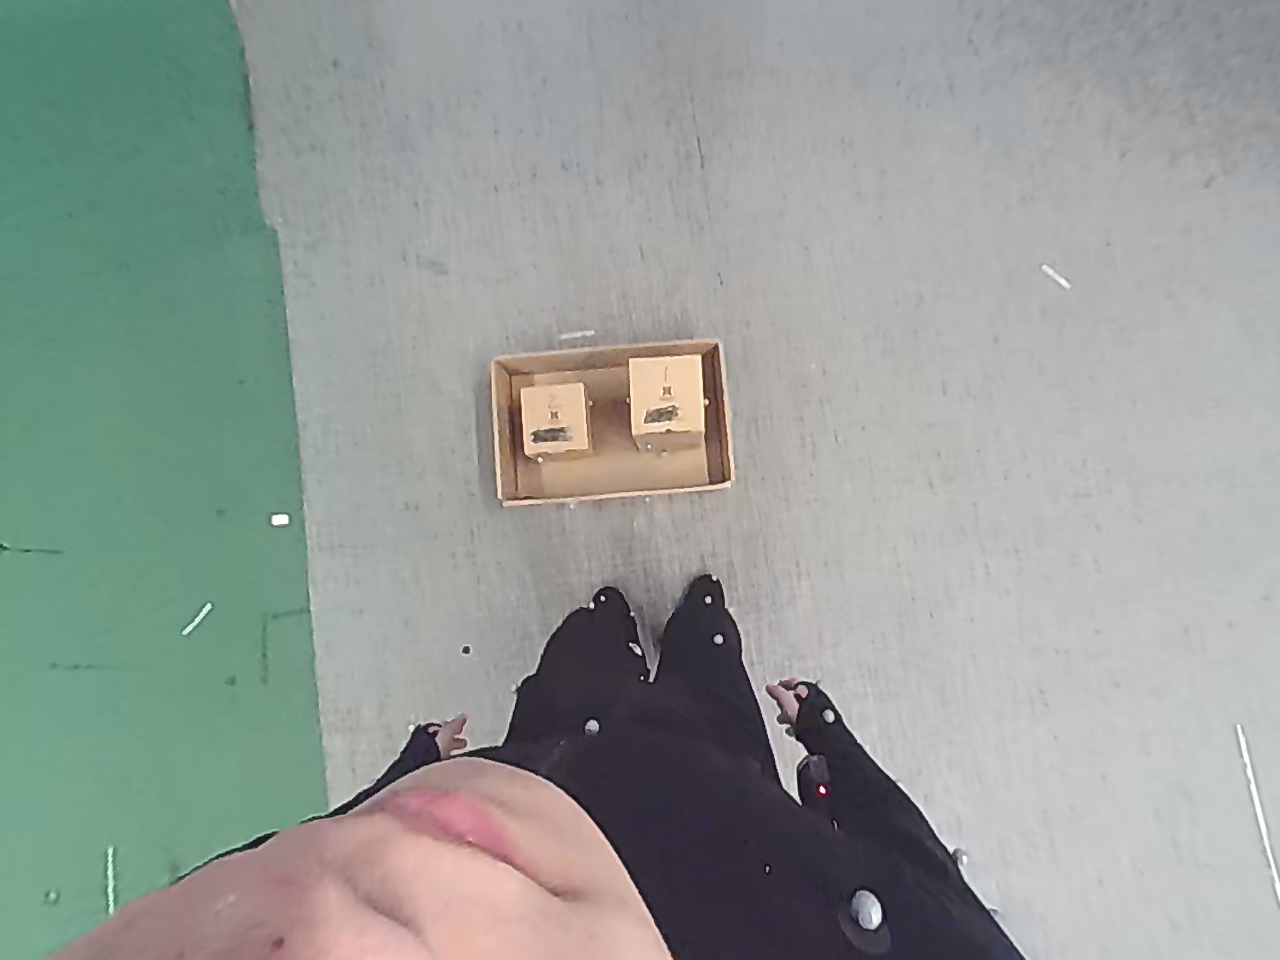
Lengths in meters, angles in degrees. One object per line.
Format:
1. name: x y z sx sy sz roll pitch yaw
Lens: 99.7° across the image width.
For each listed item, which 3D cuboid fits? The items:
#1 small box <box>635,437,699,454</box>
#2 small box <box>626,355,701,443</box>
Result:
1. small box: 0.066 -0.170 1.446 0.168 0.176 0.179 -5 85 3
2. small box: 0.058 -0.184 1.283 0.168 0.176 0.179 -3 84 3
